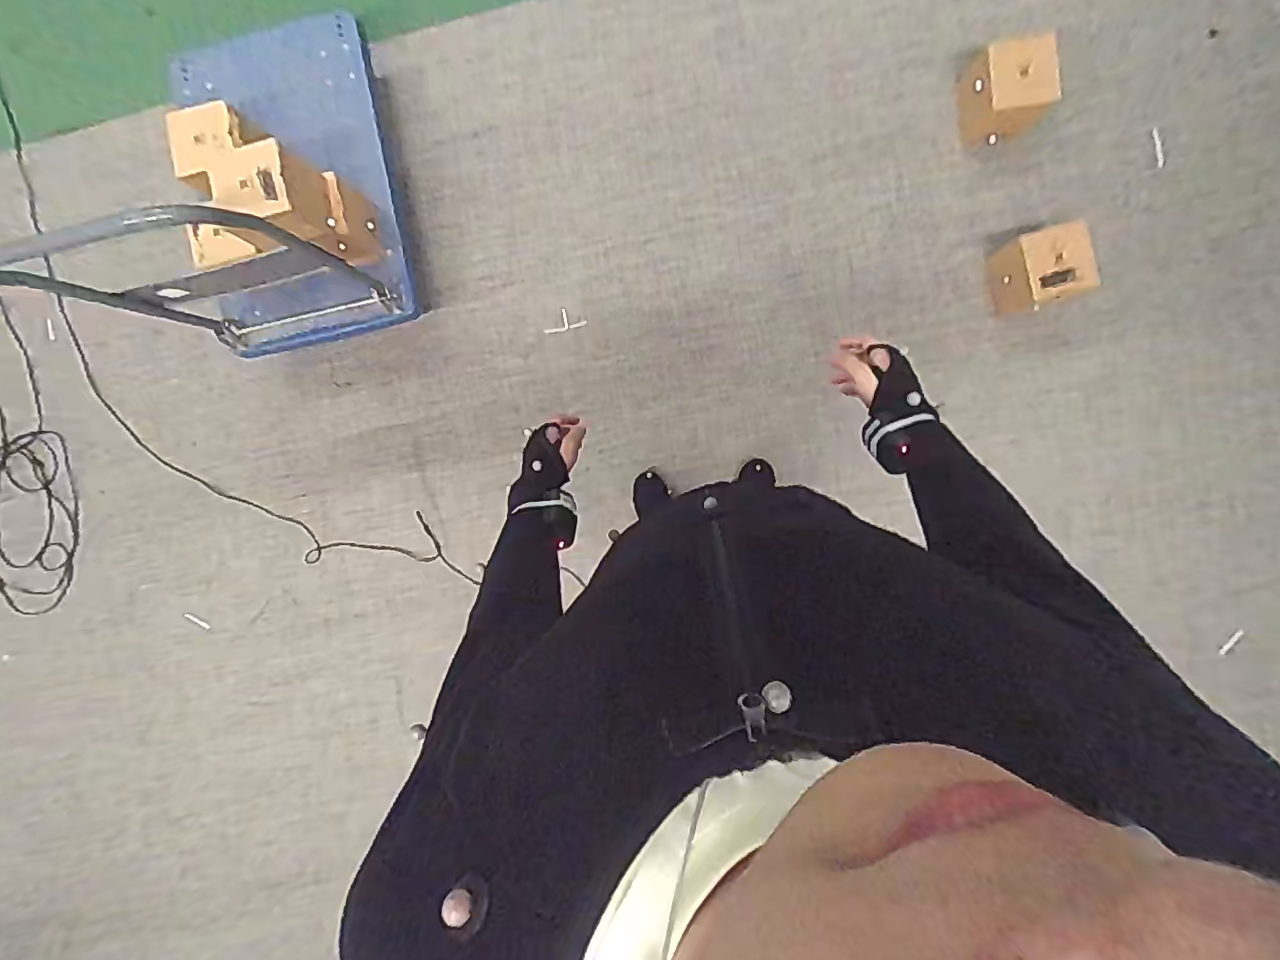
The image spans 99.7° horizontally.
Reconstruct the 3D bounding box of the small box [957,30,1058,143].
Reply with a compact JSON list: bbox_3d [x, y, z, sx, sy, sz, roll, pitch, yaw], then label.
[{"bbox_3d":[0.981,-1.052,1.458,0.168,0.176,0.179,-5,92,5],"label":"small box"}]

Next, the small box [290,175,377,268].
[{"bbox_3d":[-0.830,-0.687,1.430,0.168,0.176,0.179,19,94,1],"label":"small box"}]

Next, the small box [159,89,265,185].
[{"bbox_3d":[-1.111,-0.885,1.434,0.179,0.176,0.168,-7,92,4],"label":"small box"}]

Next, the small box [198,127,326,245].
[{"bbox_3d":[-0.865,-0.676,1.260,0.179,0.176,0.168,-11,91,5],"label":"small box"}]
